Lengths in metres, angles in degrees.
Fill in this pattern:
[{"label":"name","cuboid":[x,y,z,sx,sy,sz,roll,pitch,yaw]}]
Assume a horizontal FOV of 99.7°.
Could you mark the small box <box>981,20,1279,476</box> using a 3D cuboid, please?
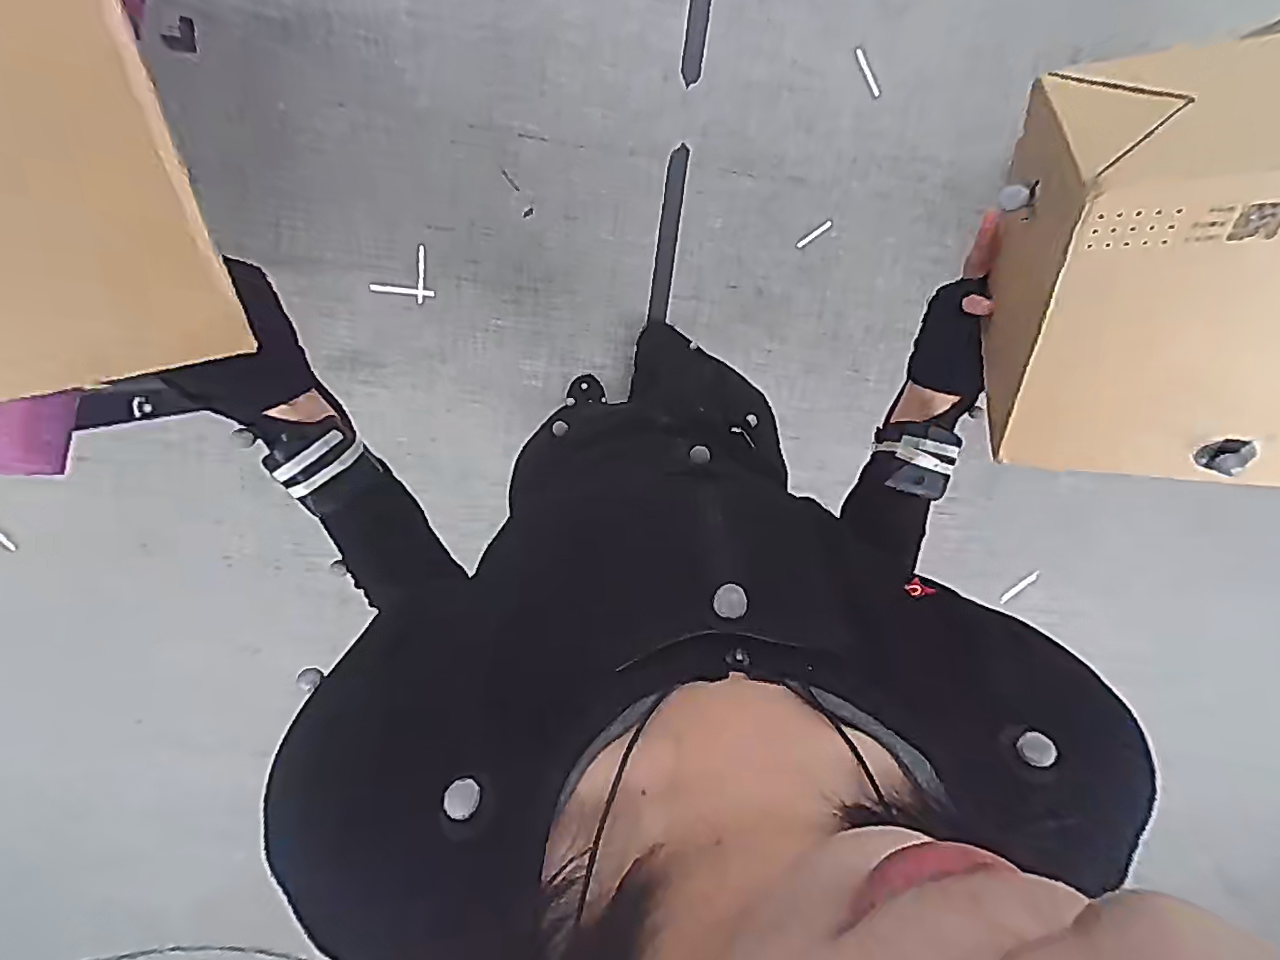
[{"label":"small box","cuboid":[0.301,-0.125,0.292,0.168,0.179,0.176,6,139,23]}]
